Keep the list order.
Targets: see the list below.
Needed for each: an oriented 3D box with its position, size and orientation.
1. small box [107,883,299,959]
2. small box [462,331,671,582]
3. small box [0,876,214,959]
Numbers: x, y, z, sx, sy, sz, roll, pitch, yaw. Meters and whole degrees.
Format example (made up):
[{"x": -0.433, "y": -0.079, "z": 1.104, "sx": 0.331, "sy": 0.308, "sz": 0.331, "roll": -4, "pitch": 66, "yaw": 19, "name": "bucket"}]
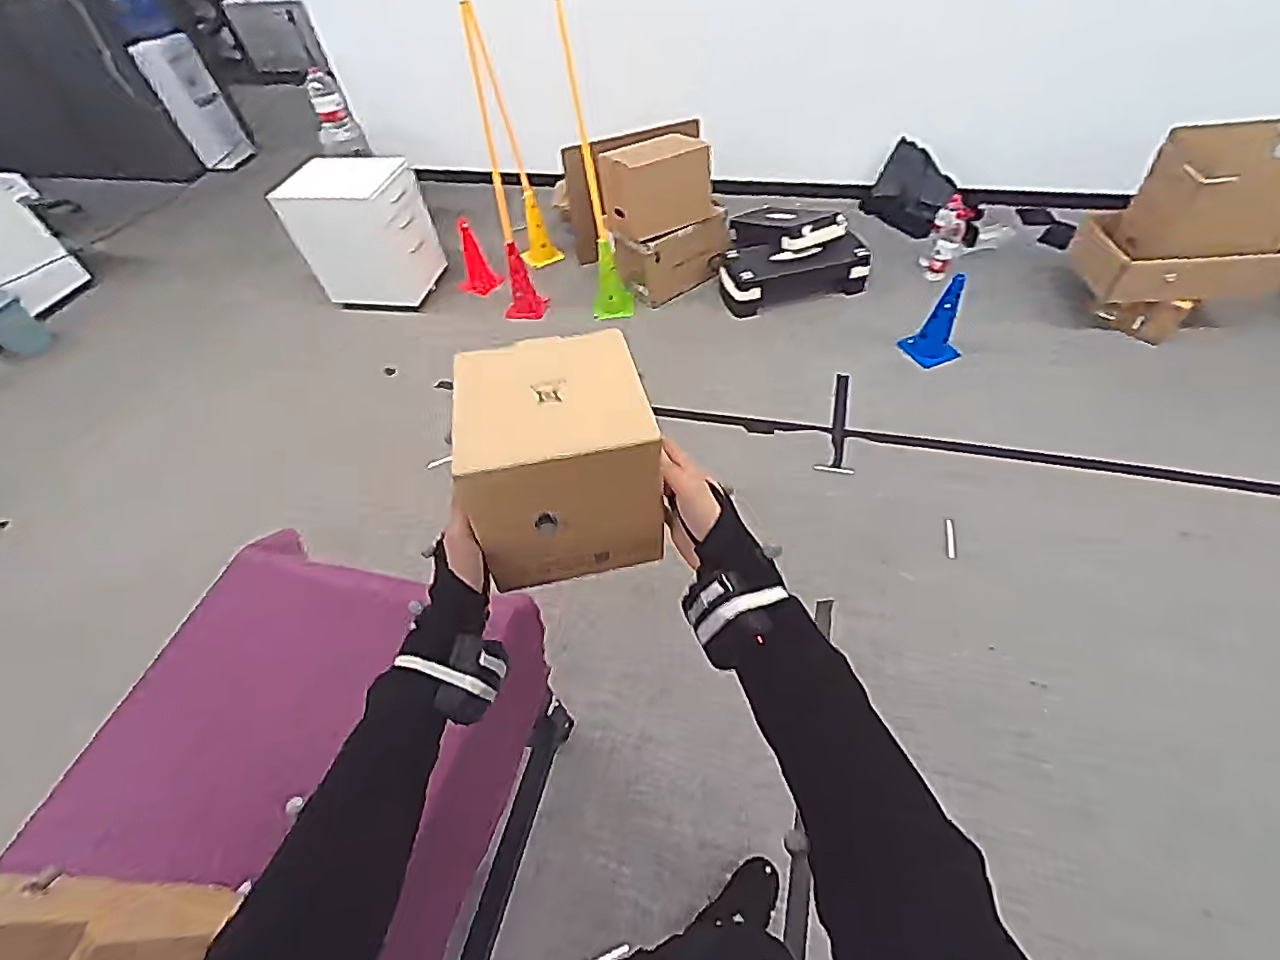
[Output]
[{"x": -0.539, "y": 0.585, "z": 0.615, "sx": 0.168, "sy": 0.176, "sz": 0.179, "roll": 6, "pitch": 52, "yaw": 10, "name": "small box"}, {"x": -0.067, "y": -0.018, "z": 0.528, "sx": 0.168, "sy": 0.176, "sz": 0.179, "roll": -10, "pitch": 45, "yaw": -7, "name": "small box"}, {"x": -0.556, "y": 0.484, "z": 0.486, "sx": 0.179, "sy": 0.176, "sz": 0.168, "roll": 10, "pitch": 54, "yaw": 14, "name": "small box"}]
